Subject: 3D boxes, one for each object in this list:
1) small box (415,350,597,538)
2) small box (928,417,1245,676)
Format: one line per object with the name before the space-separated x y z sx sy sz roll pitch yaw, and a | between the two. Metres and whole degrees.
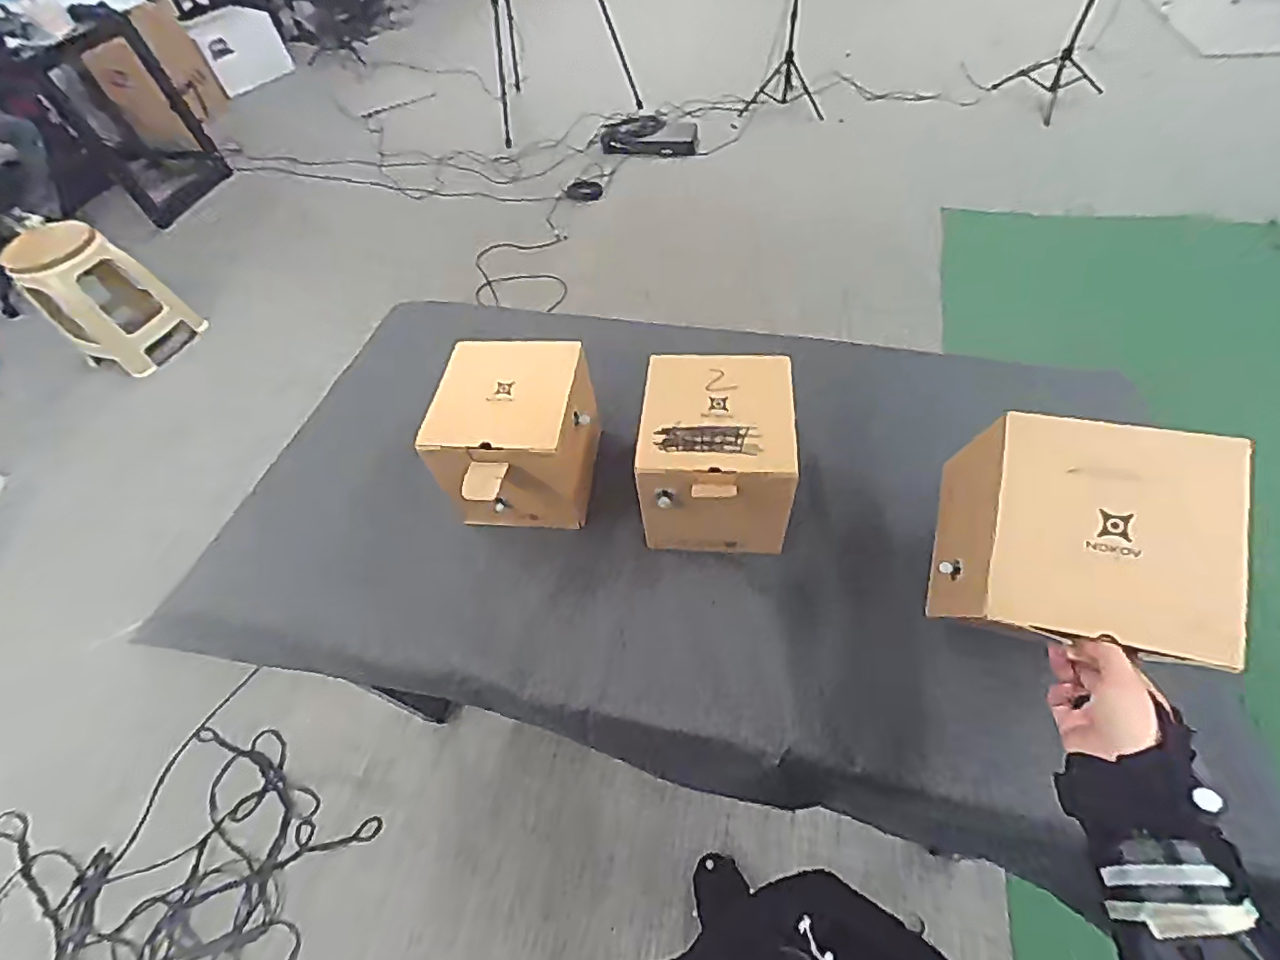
small box | -0.154 -0.046 0.697 0.168 0.176 0.179 2 55 7
small box | 0.379 0.062 0.491 0.168 0.176 0.179 10 78 14
